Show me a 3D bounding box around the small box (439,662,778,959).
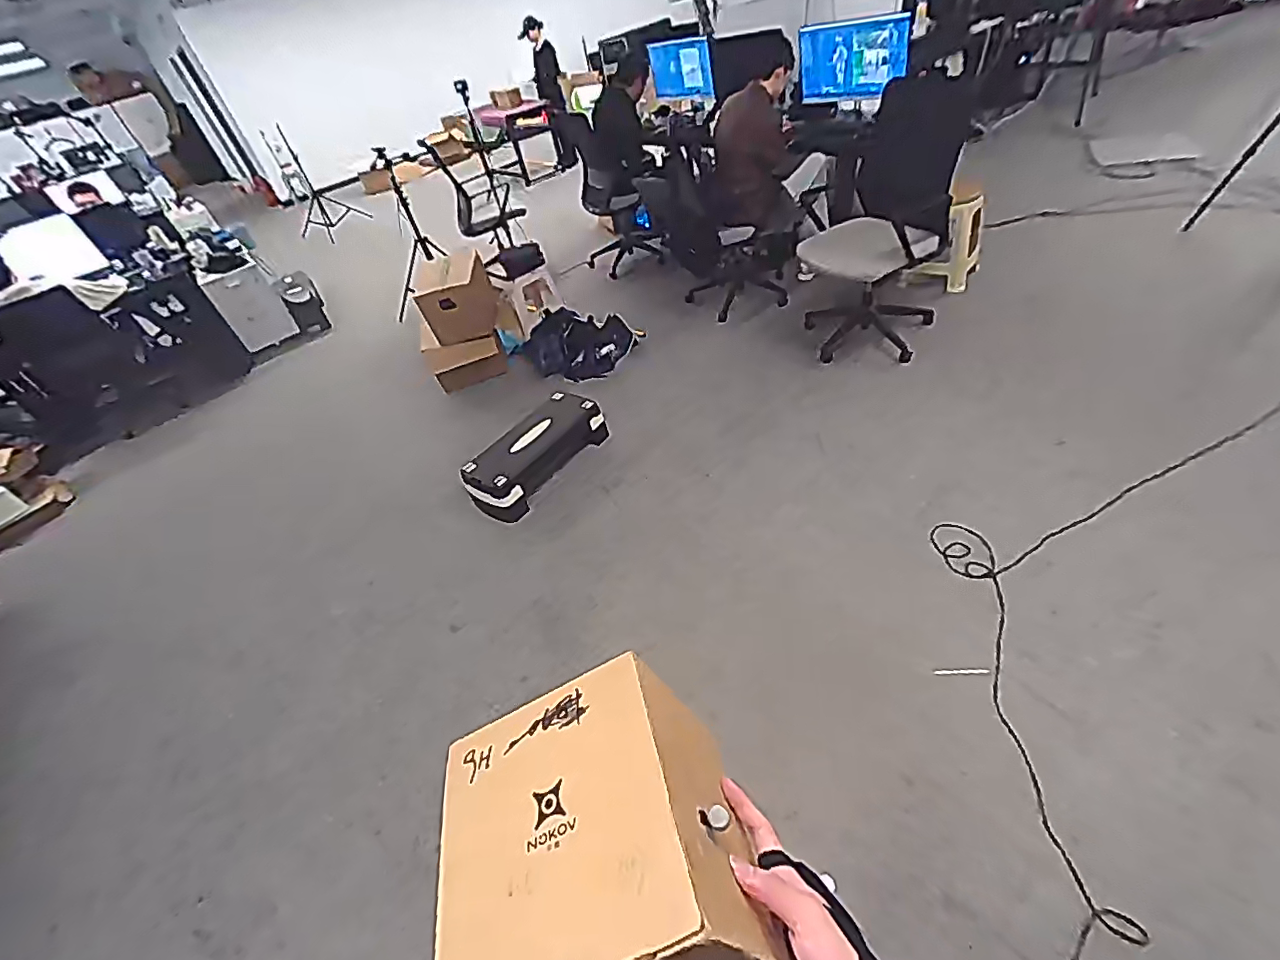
[{"bbox_3d":[-0.022,0.275,0.394,0.168,0.176,0.179,-29,38,5],"label":"small box"}]
